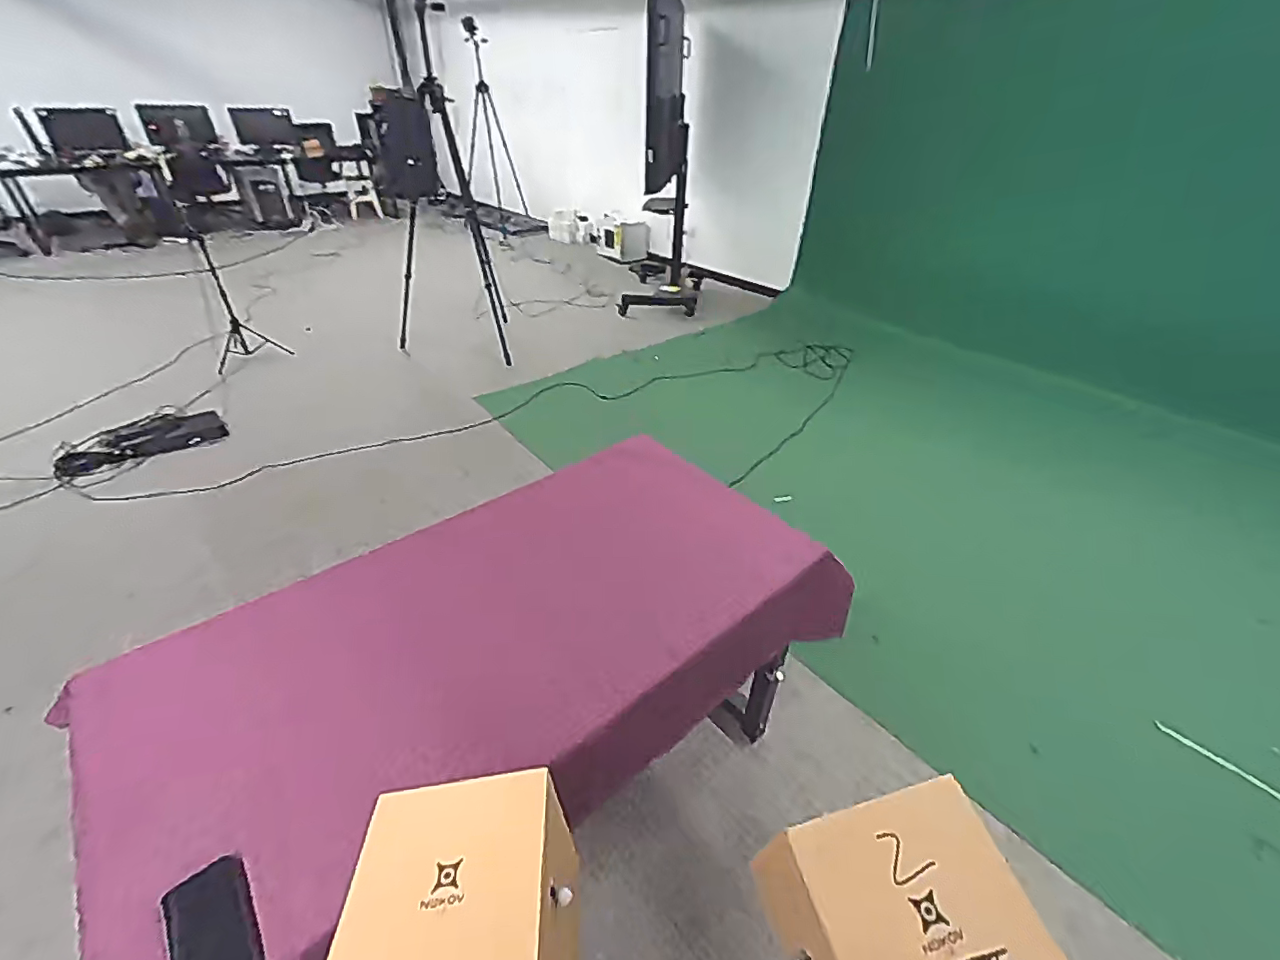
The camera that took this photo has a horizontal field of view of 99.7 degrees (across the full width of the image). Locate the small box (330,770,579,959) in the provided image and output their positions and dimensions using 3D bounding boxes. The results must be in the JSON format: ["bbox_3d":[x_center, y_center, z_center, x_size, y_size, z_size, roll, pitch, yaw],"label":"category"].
[{"bbox_3d":[-0.151,0.403,0.489,0.168,0.176,0.179,-8,30,-2],"label":"small box"}]
